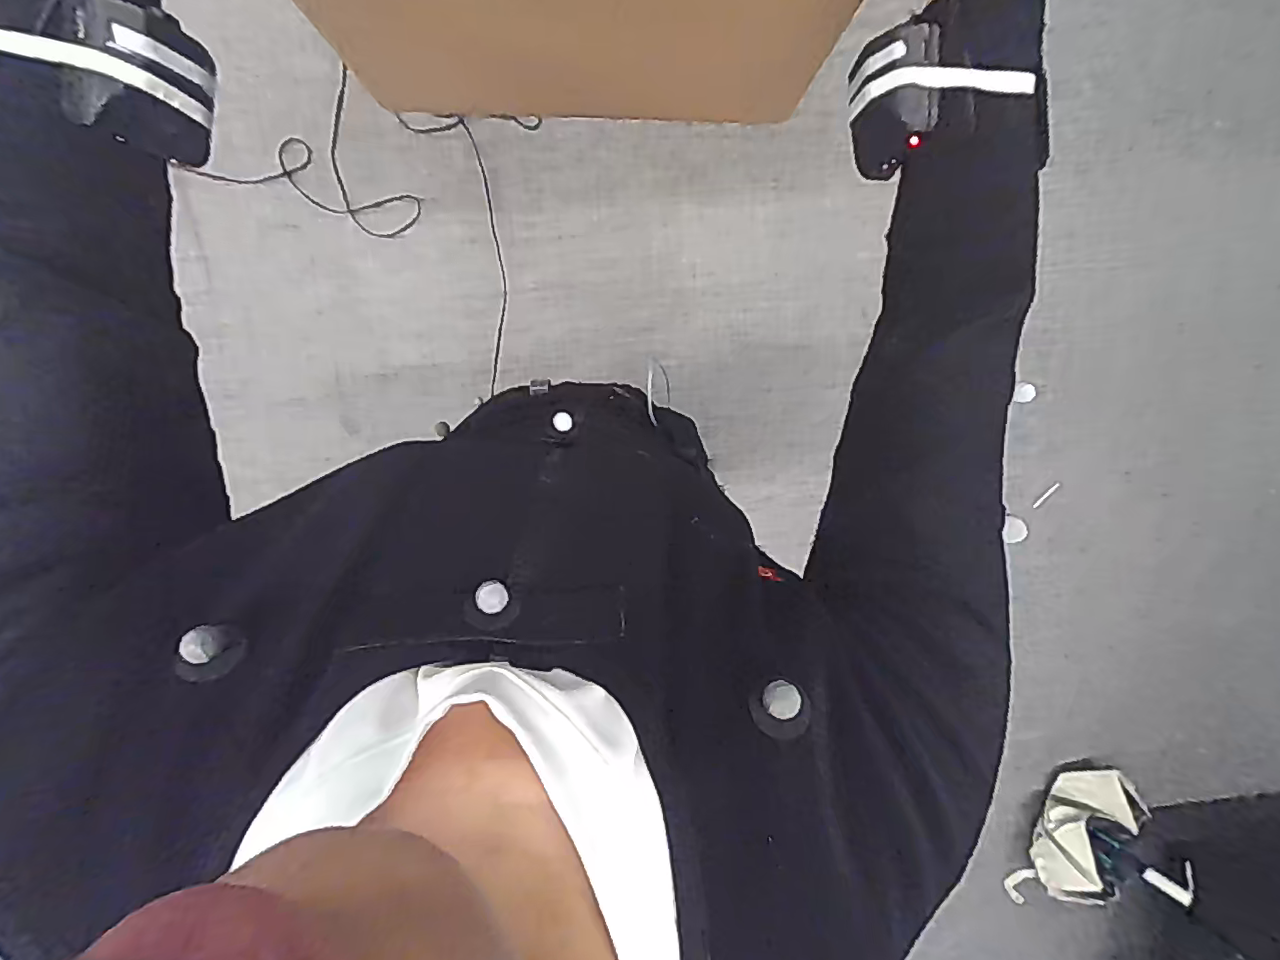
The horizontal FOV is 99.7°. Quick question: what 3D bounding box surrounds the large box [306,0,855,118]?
[{"bbox_3d":[-0.044,-0.490,0.373,0.408,0.320,0.320,-1,100,-4],"label":"large box"}]
